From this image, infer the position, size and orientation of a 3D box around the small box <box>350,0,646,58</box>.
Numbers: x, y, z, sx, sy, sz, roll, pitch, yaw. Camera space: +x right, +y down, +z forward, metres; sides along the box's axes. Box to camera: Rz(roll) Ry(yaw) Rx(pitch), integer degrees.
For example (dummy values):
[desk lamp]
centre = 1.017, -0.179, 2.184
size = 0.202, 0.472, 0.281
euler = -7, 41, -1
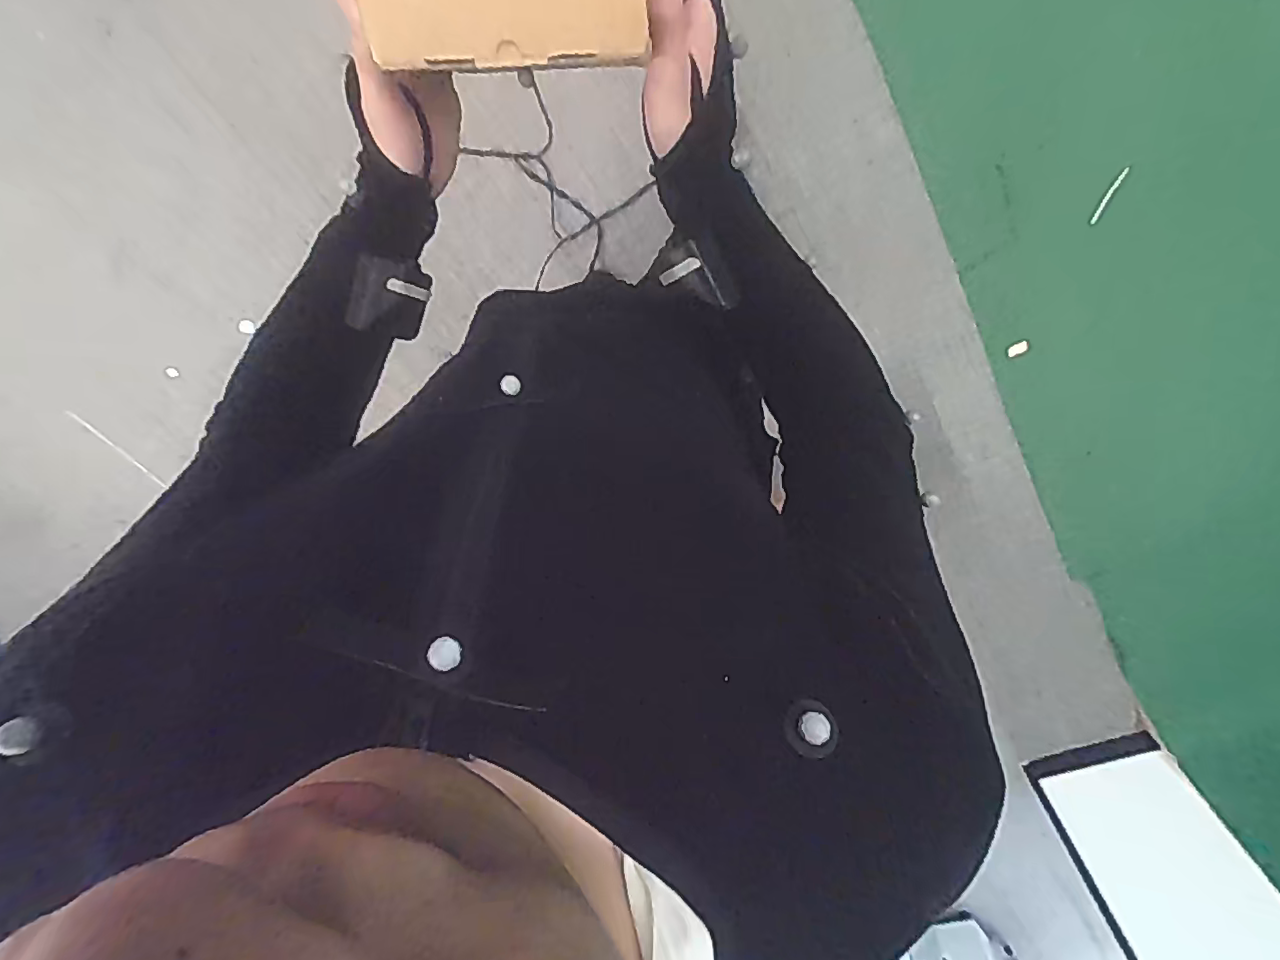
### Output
[small box]
centre = -0.082, -0.367, 0.323
size = 0.168, 0.176, 0.179
euler = -2, 128, 2
